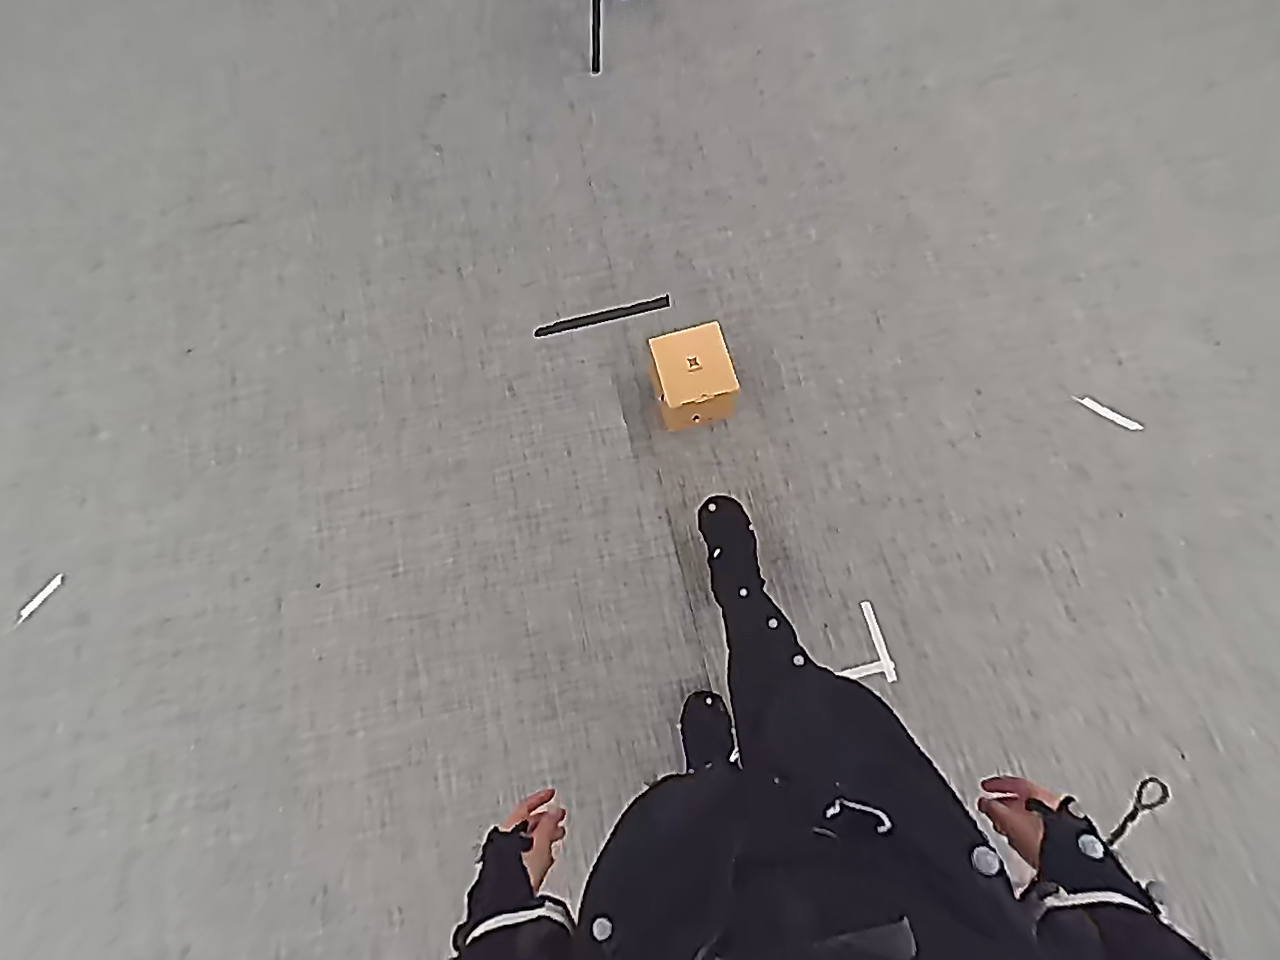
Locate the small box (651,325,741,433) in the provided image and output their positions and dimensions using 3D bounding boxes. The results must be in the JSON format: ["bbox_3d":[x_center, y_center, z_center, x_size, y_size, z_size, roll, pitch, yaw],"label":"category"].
[{"bbox_3d":[0.125,-0.232,1.279,0.168,0.176,0.179,-15,77,-1],"label":"small box"}]
